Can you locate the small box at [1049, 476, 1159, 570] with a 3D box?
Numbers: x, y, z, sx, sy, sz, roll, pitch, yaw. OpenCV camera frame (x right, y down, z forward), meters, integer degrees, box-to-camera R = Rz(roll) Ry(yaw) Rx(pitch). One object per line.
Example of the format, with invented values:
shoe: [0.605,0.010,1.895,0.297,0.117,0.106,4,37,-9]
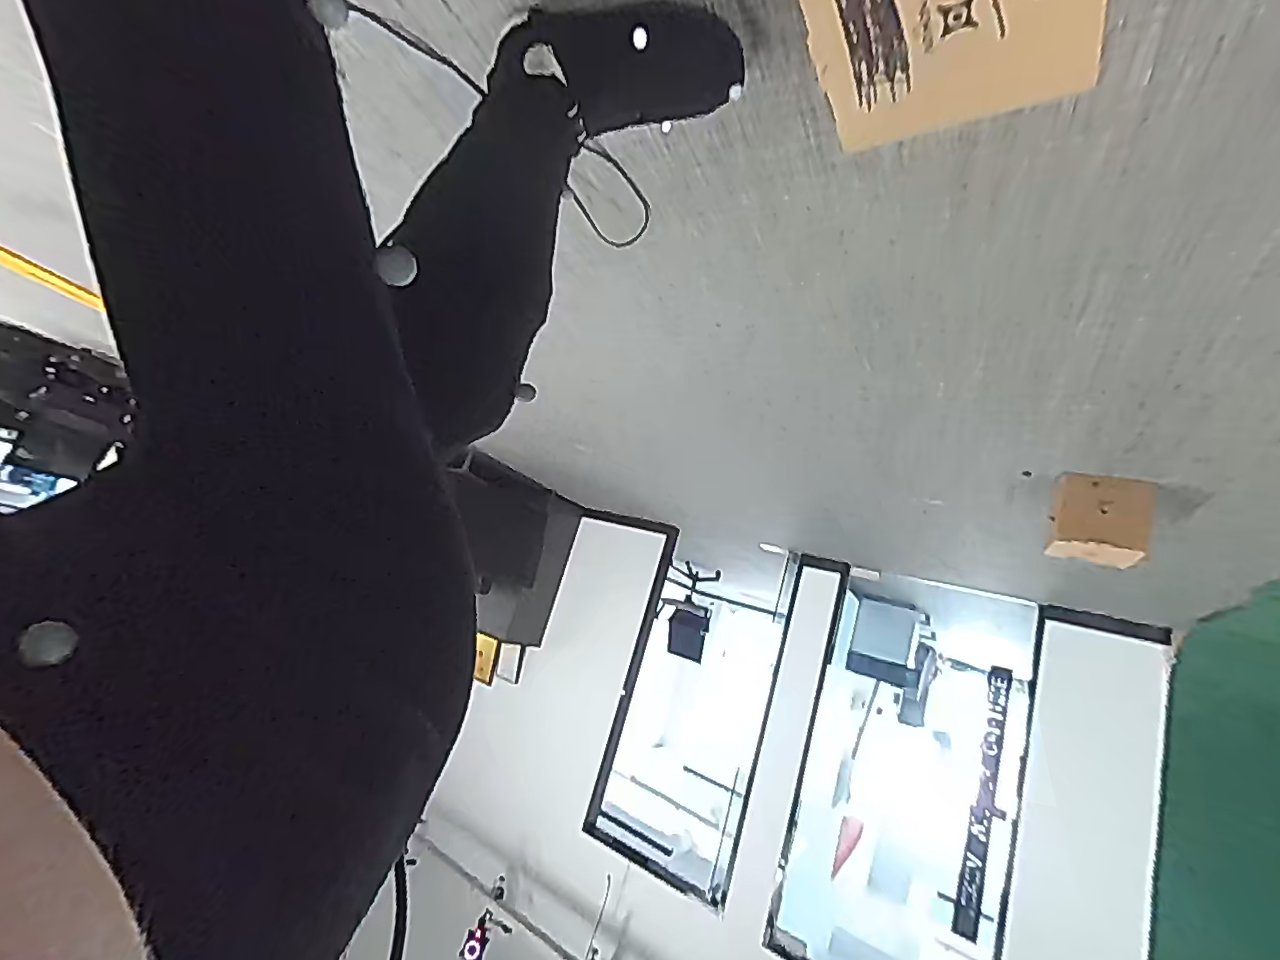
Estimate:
small box: [1.096,0.100,1.283,0.168,0.176,0.179,9,165,31]
